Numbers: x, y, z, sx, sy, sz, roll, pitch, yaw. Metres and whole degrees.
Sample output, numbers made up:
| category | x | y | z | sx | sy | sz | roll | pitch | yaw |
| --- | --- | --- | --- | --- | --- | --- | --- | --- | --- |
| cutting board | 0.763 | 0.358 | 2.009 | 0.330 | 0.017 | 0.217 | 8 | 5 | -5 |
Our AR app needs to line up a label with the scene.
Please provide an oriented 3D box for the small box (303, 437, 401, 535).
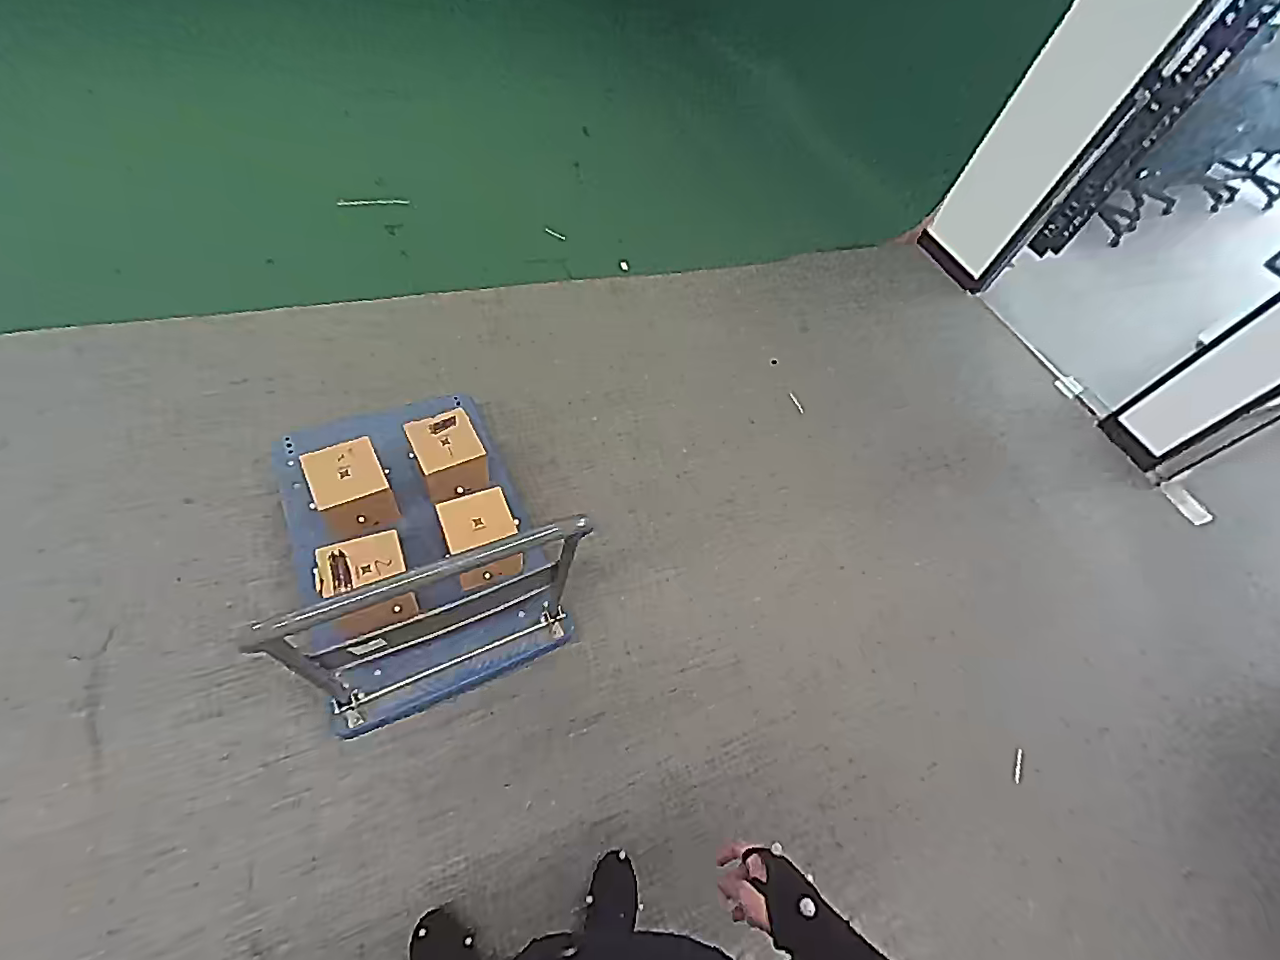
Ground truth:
| category | x | y | z | sx | sy | sz | roll | pitch | yaw |
| --- | --- | --- | --- | --- | --- | --- | --- | --- | --- |
| small box | -0.740 | 0.023 | 1.403 | 0.168 | 0.176 | 0.179 | -22 | 65 | -25 |

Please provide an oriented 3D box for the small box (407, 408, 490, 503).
| category | x | y | z | sx | sy | sz | roll | pitch | yaw |
| --- | --- | --- | --- | --- | --- | --- | --- | --- | --- |
| small box | -0.528 | -0.066 | 1.506 | 0.168 | 0.176 | 0.179 | -22 | 66 | -23 |

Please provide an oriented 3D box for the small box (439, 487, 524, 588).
| category | x | y | z | sx | sy | sz | roll | pitch | yaw |
| --- | --- | --- | --- | --- | --- | --- | --- | --- | --- |
| small box | -0.407 | 0.150 | 1.396 | 0.168 | 0.176 | 0.179 | -18 | 64 | -22 |
